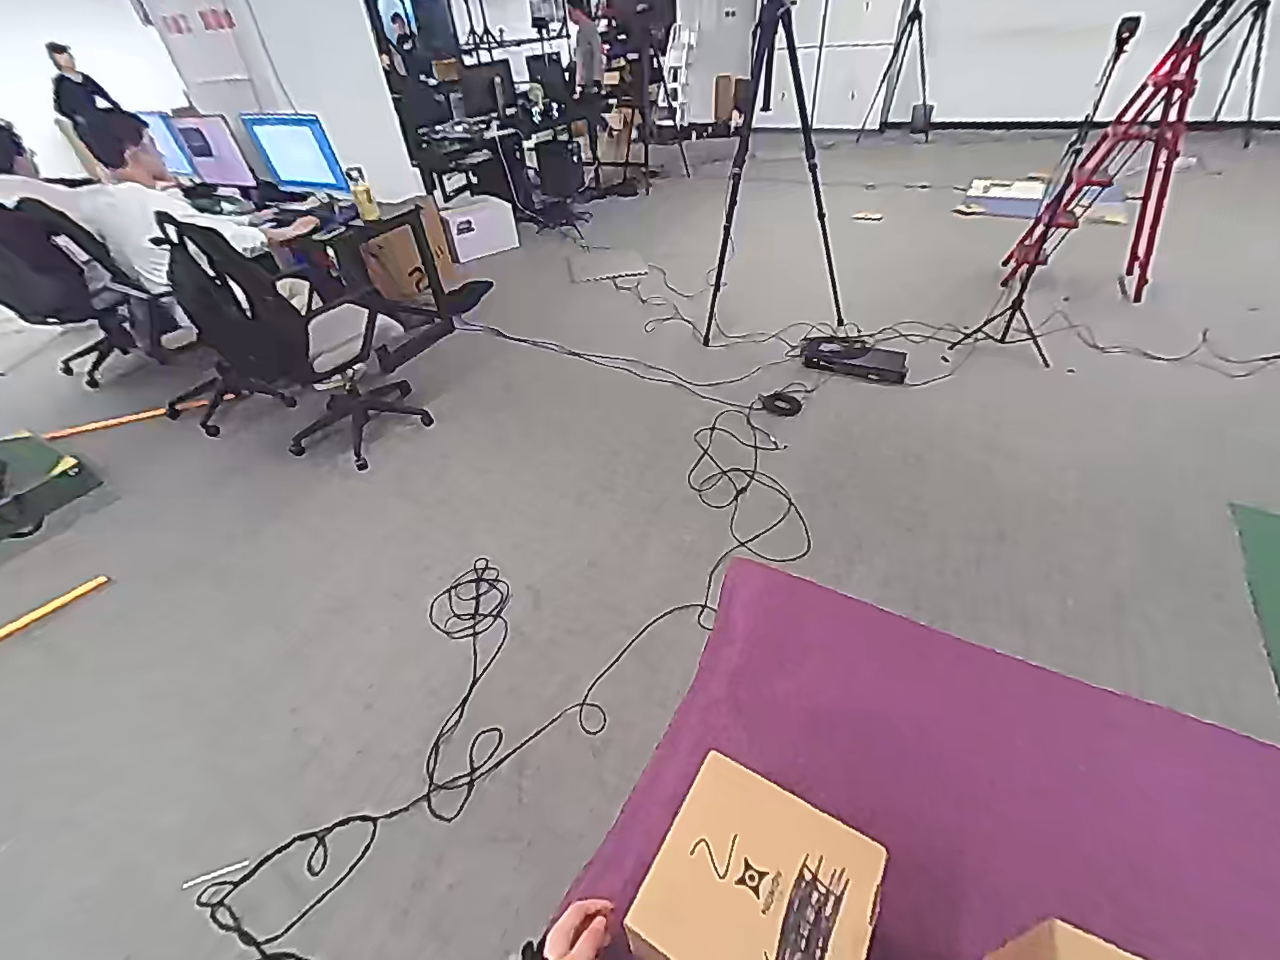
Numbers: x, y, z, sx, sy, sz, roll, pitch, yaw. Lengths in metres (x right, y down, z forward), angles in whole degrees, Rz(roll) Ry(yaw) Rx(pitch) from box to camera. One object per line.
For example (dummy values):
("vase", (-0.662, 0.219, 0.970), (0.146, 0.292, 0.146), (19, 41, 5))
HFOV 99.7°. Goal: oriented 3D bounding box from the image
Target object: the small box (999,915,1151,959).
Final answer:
("small box", (0.370, 0.483, 0.399), (0.168, 0.176, 0.179), (15, 43, 22))
